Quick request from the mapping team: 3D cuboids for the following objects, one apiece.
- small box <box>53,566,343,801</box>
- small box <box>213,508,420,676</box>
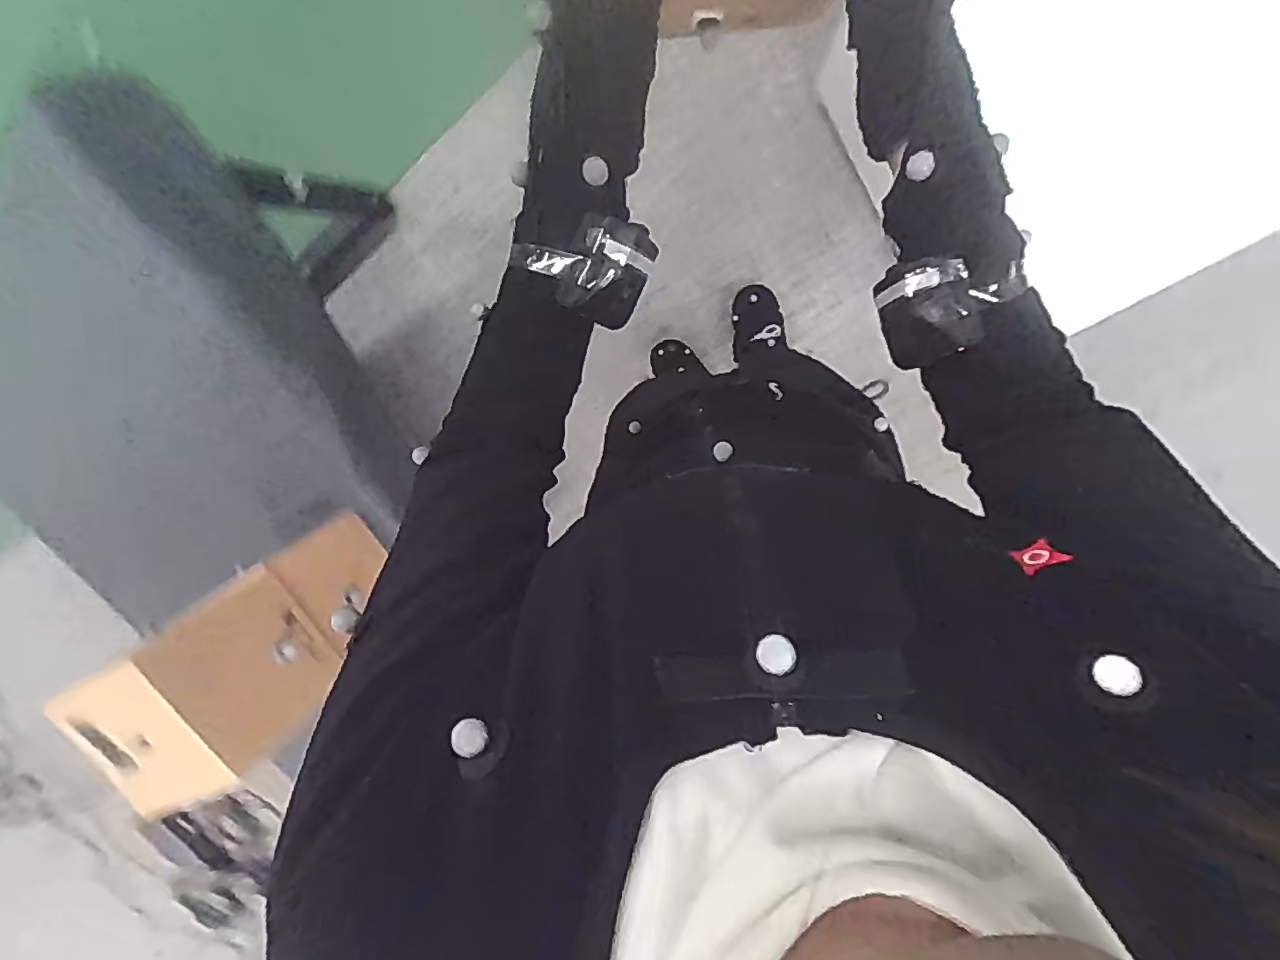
[{"bbox_3d":[-0.499,0.231,0.633,0.179,0.176,0.168,-27,103,23],"label":"small box"},{"bbox_3d":[-0.461,0.171,0.782,0.168,0.176,0.179,-27,104,21],"label":"small box"}]
